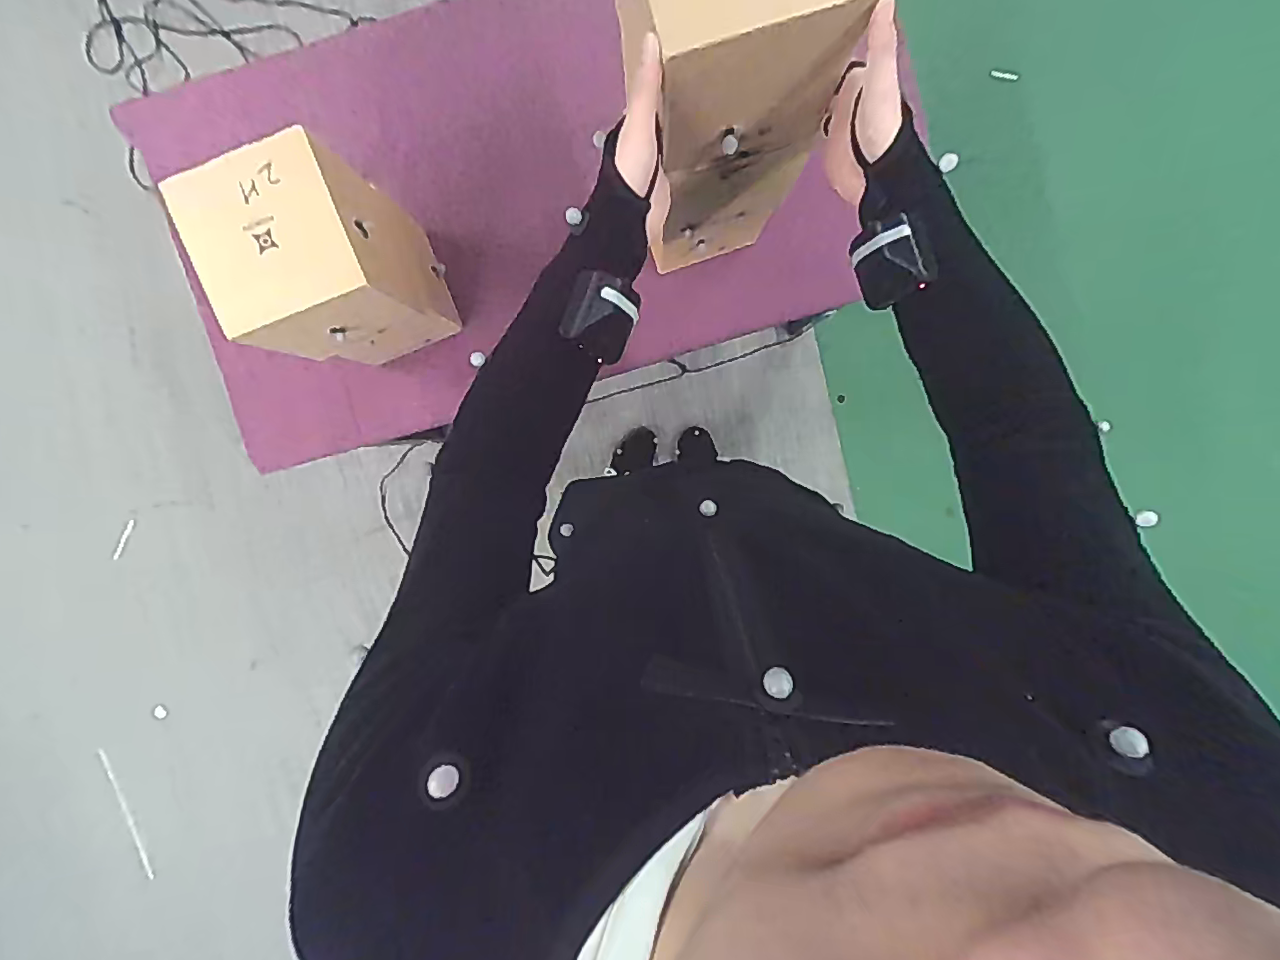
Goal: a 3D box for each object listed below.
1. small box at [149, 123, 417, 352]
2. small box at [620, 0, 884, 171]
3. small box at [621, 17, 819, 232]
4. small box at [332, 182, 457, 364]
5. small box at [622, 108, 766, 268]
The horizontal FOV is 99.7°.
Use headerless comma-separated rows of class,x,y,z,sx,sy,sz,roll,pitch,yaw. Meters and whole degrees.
small box,-0.391,-0.258,0.630,0.168,0.176,0.179,-20,95,1
small box,0.075,-0.404,0.452,0.168,0.176,0.179,-14,93,2
small box,0.082,-0.408,0.617,0.168,0.176,0.179,-16,92,2
small box,-0.397,-0.288,0.793,0.168,0.176,0.179,-22,94,2
small box,0.081,-0.427,0.780,0.168,0.176,0.179,-18,93,2
